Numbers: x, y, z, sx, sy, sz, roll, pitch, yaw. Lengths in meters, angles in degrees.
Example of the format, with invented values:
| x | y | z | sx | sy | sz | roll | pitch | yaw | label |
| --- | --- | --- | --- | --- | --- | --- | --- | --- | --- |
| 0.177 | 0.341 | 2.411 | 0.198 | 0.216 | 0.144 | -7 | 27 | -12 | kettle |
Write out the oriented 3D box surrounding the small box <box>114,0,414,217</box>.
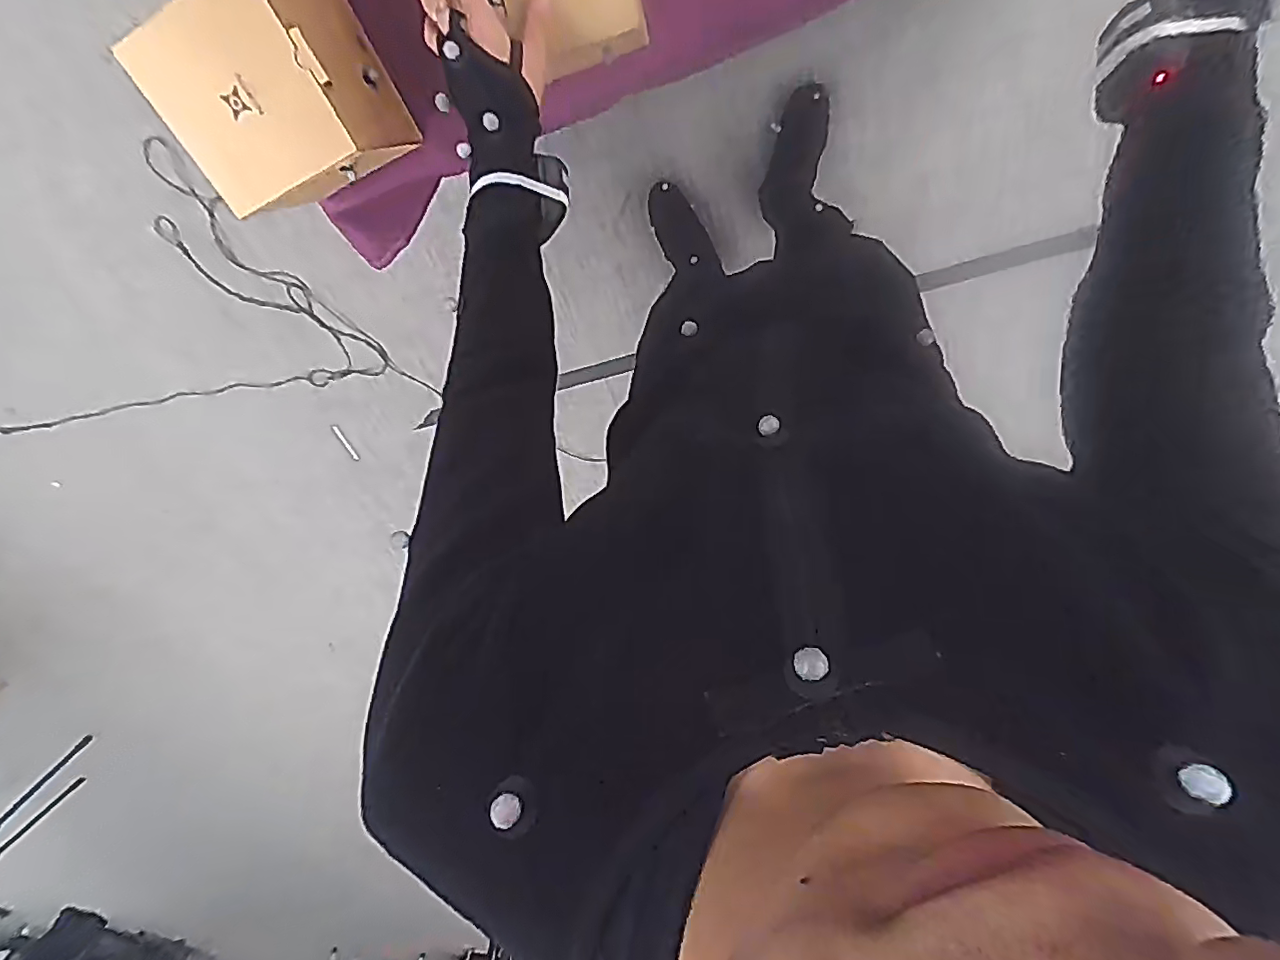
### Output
| x | y | z | sx | sy | sz | roll | pitch | yaw | label |
| --- | --- | --- | --- | --- | --- | --- | --- | --- | --- |
| -0.394 | -0.421 | 0.603 | 0.179 | 0.176 | 0.168 | -18 | 121 | 15 | small box |
